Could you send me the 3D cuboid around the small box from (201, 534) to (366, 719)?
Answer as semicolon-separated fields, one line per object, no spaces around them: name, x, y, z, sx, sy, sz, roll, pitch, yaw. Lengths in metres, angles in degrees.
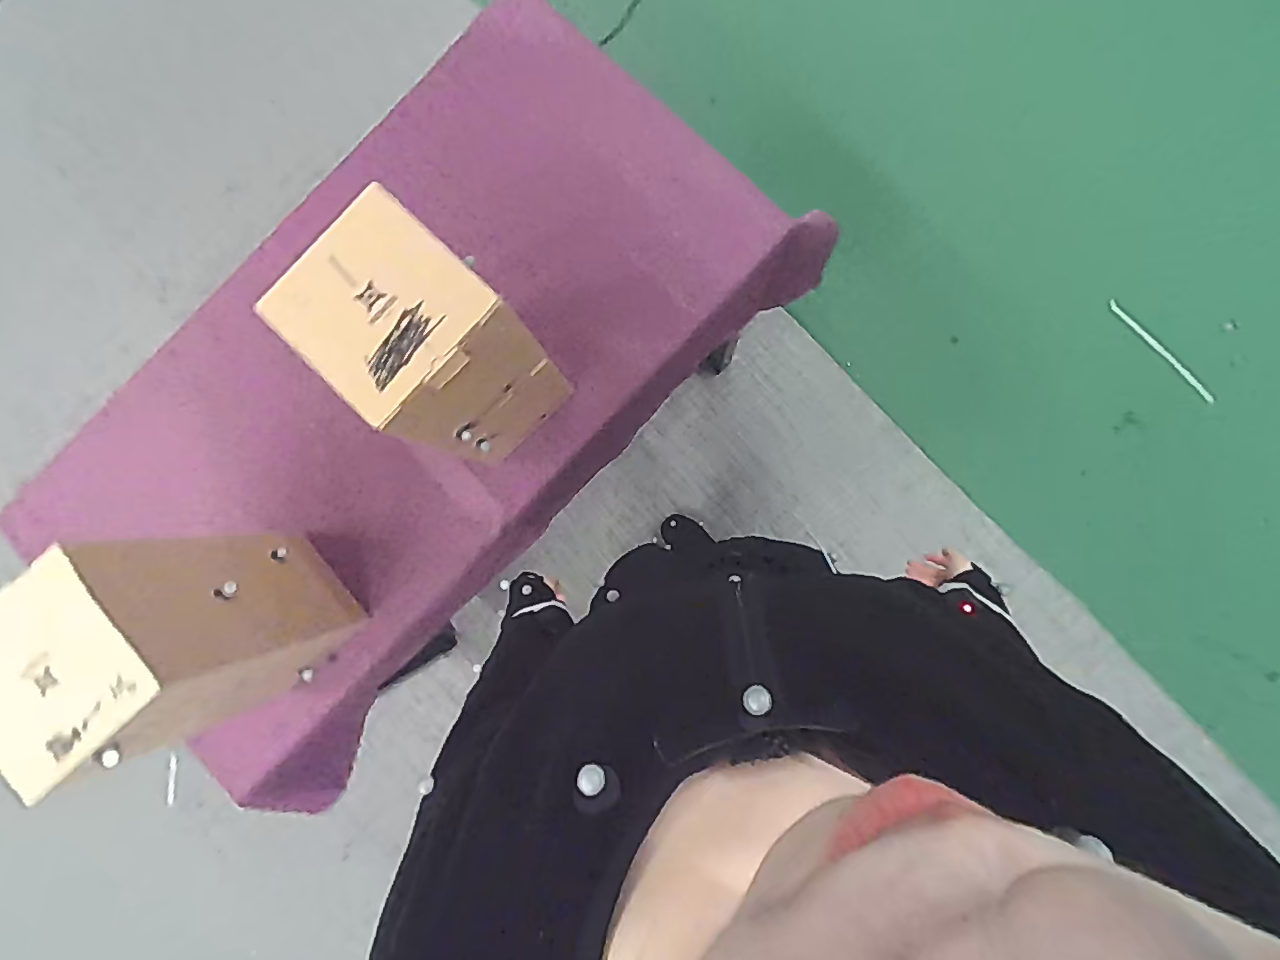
small box;-0.527;0.190;0.741;0.168;0.176;0.179;-41;85;1

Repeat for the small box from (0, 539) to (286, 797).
small box;-0.539;0.179;0.577;0.168;0.176;0.179;-42;83;2

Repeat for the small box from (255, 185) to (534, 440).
small box;-0.241;-0.158;0.579;0.179;0.176;0.168;43;90;7
